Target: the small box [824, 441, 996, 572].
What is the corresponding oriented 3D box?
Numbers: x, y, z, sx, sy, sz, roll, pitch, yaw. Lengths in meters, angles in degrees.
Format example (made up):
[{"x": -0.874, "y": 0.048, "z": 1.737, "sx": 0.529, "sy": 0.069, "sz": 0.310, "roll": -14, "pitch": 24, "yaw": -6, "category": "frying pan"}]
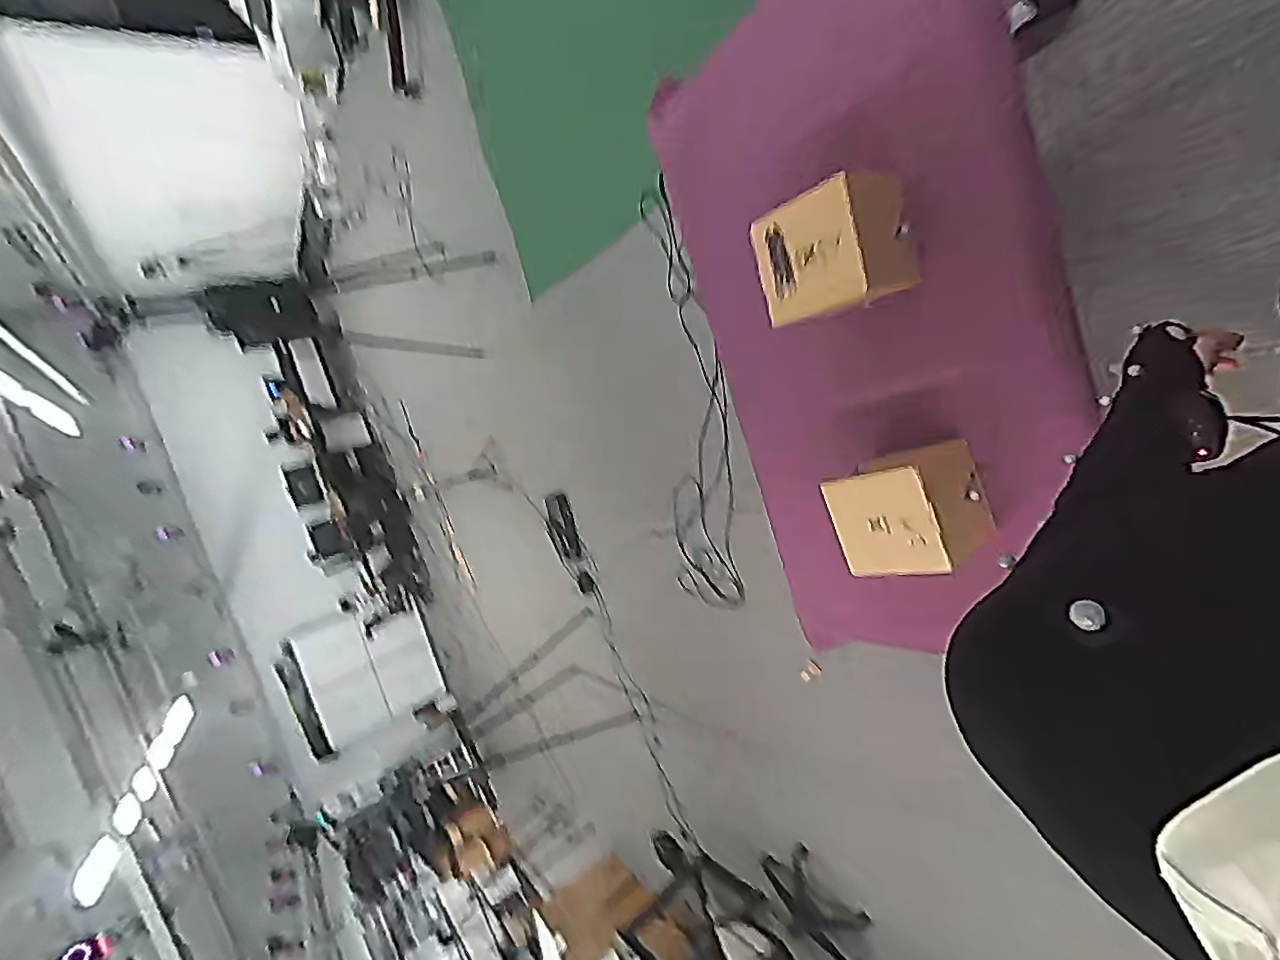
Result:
[{"x": 0.450, "y": 0.047, "z": 0.905, "sx": 0.179, "sy": 0.176, "sz": 0.168, "roll": -19, "pitch": 92, "yaw": 56, "category": "small box"}]
